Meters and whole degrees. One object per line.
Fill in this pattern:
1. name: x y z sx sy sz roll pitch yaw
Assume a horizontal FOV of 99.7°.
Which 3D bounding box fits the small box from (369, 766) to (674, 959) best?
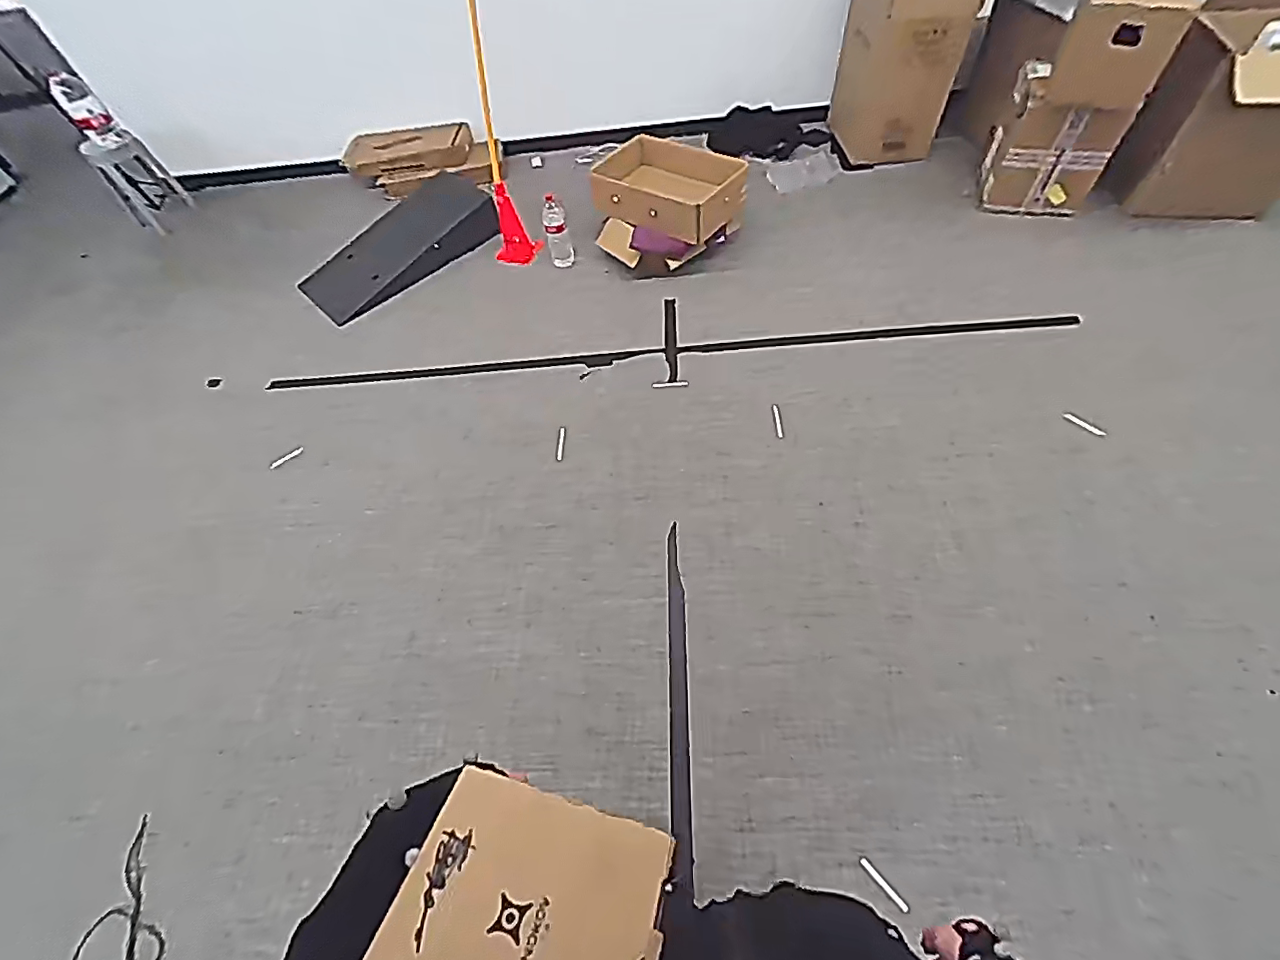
1. small box: -0.087 0.362 0.414 0.179 0.176 0.168 14 38 8
